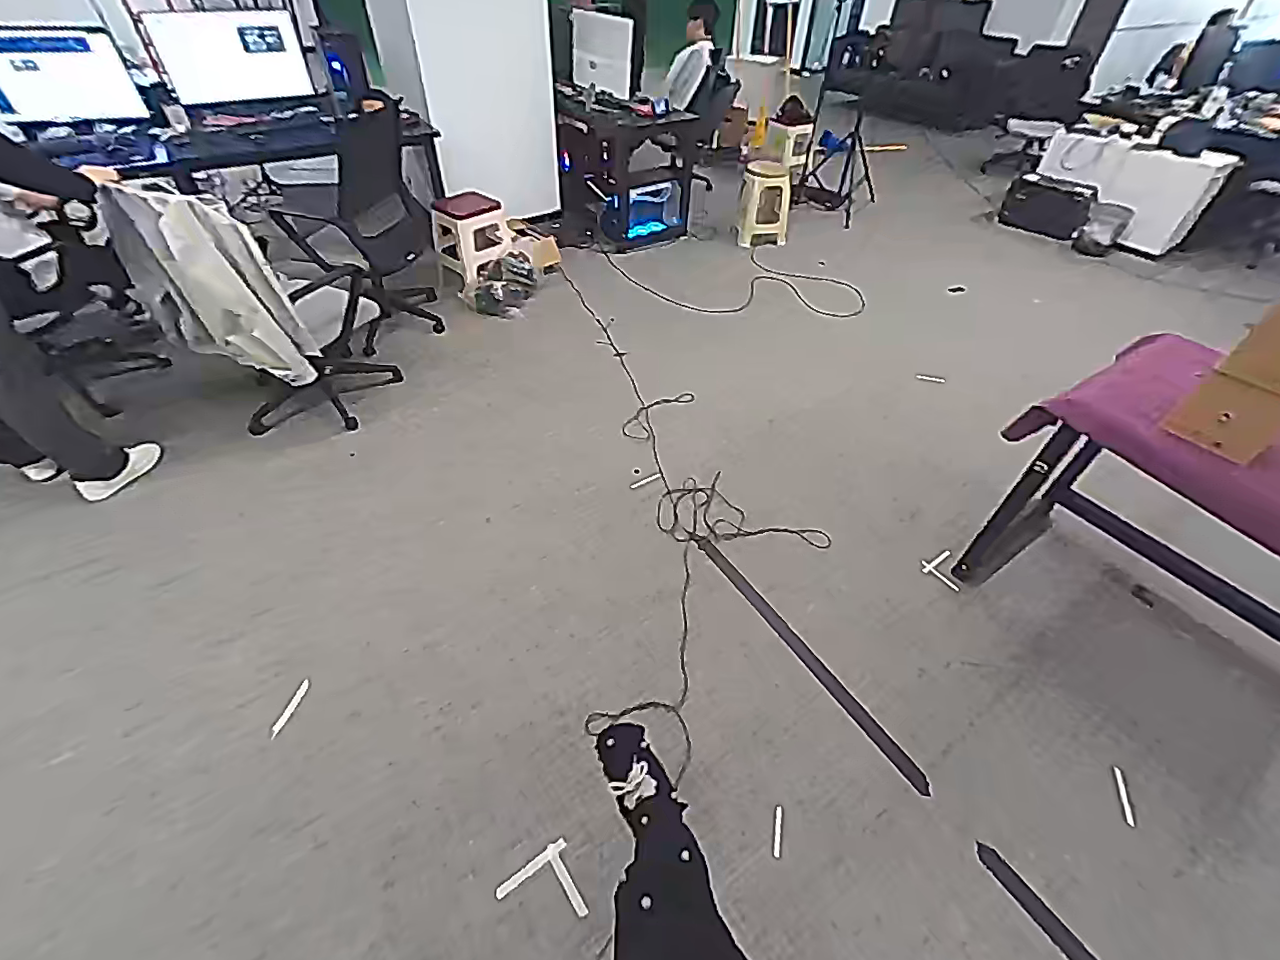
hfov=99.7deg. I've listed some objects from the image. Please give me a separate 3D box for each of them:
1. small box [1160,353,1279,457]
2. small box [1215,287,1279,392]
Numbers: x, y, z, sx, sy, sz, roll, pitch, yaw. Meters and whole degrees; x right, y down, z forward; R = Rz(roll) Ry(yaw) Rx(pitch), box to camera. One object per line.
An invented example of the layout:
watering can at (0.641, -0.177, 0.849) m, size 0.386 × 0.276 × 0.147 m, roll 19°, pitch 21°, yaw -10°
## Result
small box at (1.327, -0.178, 1.205) m, size 0.179 × 0.176 × 0.168 m, roll -27°, pitch 53°, yaw -28°
small box at (1.328, -0.288, 1.086) m, size 0.179 × 0.176 × 0.168 m, roll -29°, pitch 54°, yaw -29°
